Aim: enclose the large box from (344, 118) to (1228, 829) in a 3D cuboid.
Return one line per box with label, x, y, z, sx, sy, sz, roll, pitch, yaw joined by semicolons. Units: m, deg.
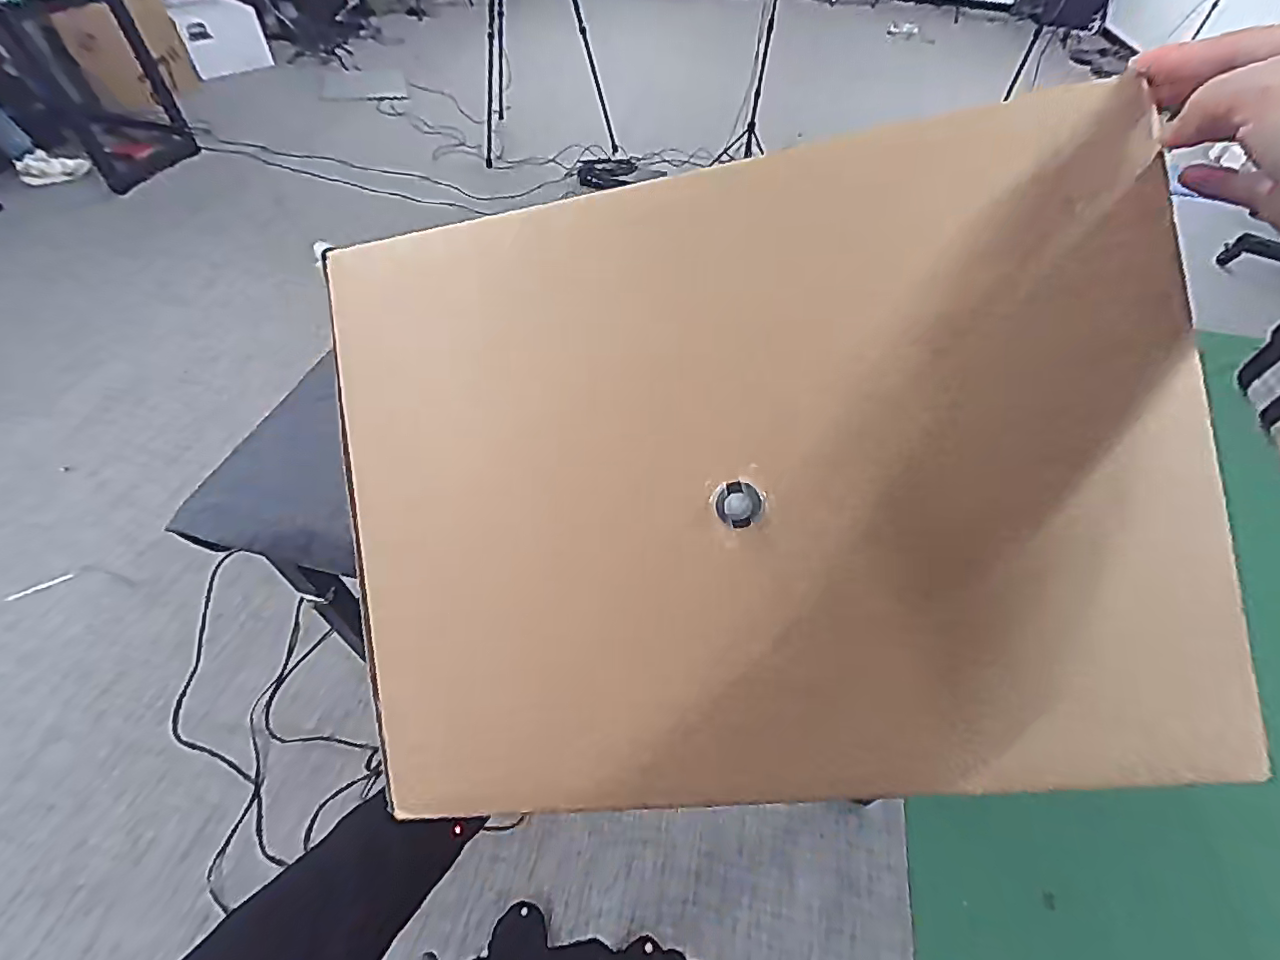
large box;0.074;0.011;0.419;0.408;0.320;0.320;-10;88;8
